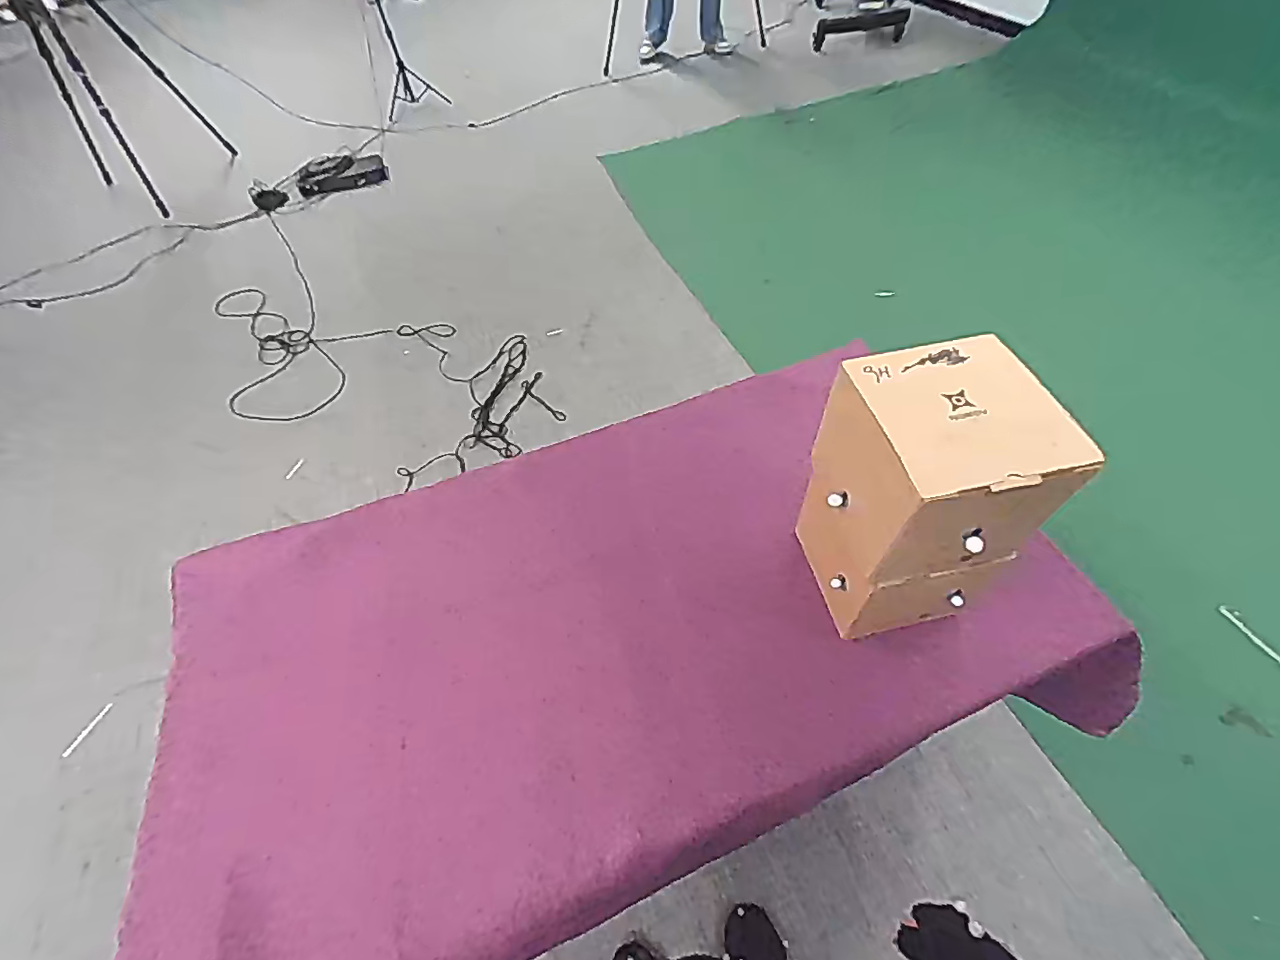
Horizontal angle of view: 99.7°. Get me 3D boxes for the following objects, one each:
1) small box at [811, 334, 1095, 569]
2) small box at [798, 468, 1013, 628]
[{"bbox_3d":[0.299,-0.021,0.566,0.168,0.176,0.179,-10,55,-4],"label":"small box"},{"bbox_3d":[0.320,0.076,0.697,0.168,0.176,0.179,-11,54,-3],"label":"small box"}]
